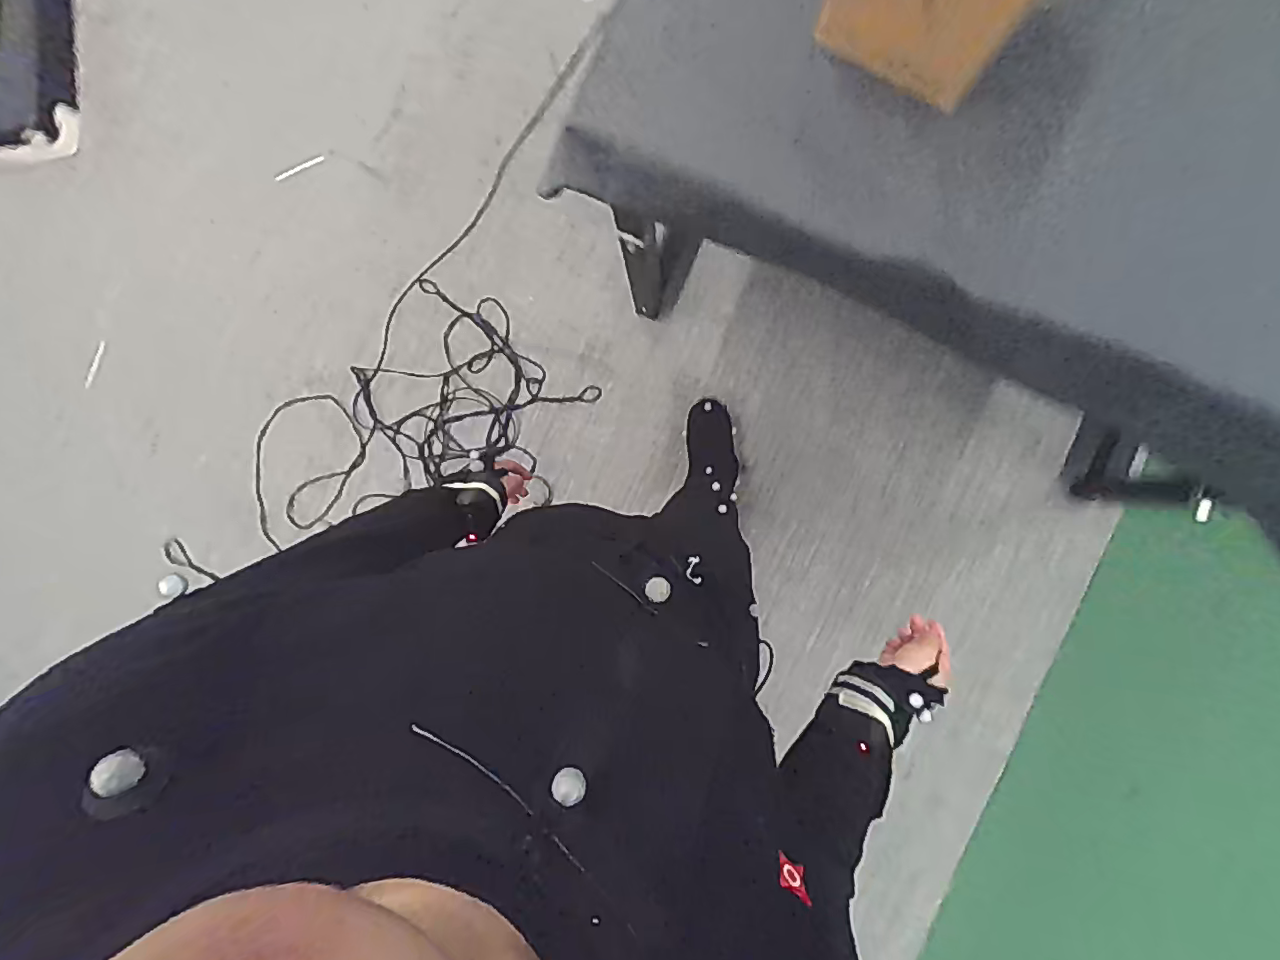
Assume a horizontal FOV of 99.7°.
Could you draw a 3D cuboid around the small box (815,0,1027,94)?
[{"bbox_3d":[0.302,-0.525,0.522,0.179,0.176,0.168,30,91,3],"label":"small box"}]
